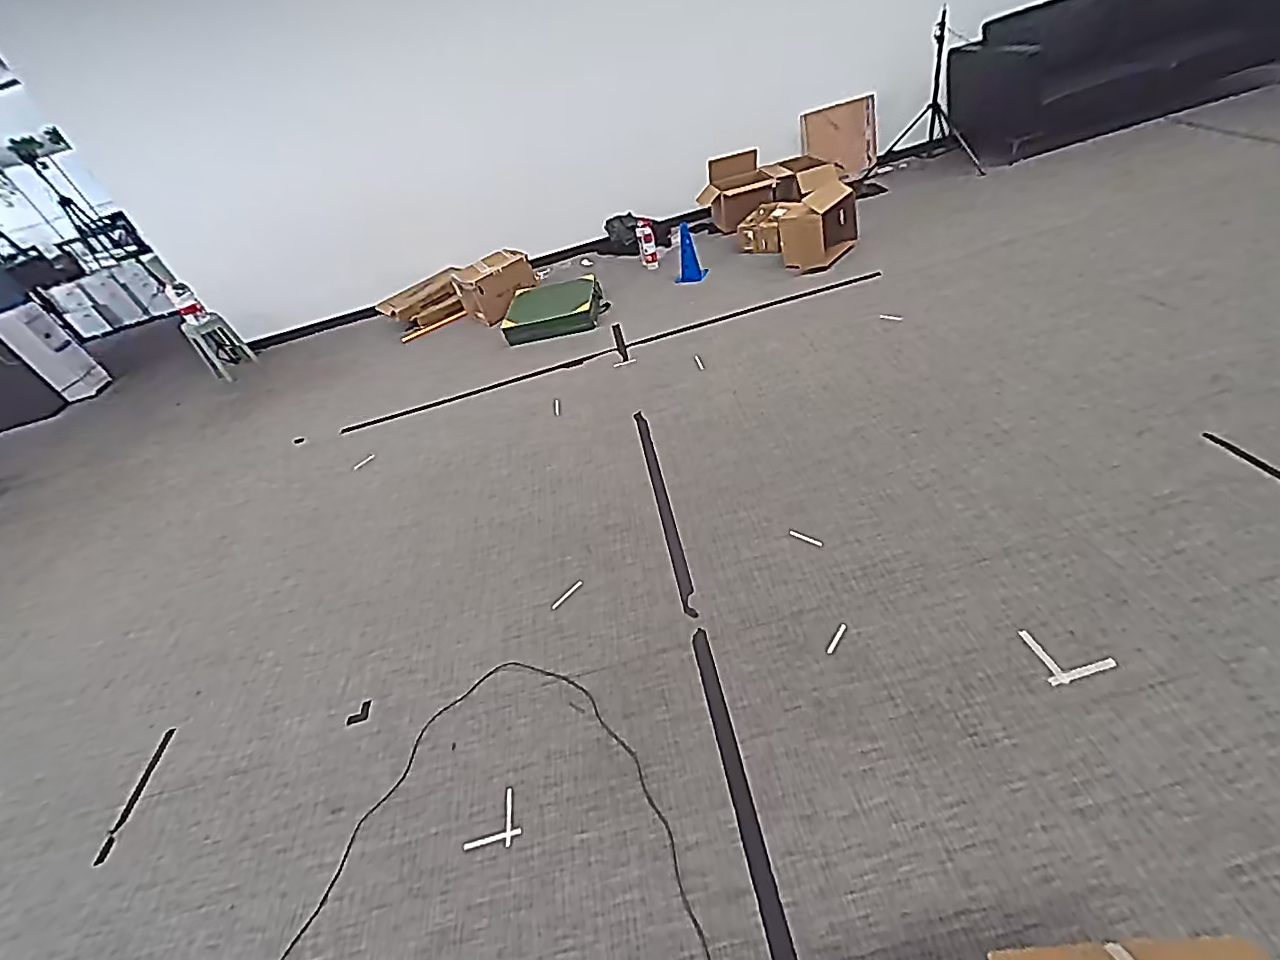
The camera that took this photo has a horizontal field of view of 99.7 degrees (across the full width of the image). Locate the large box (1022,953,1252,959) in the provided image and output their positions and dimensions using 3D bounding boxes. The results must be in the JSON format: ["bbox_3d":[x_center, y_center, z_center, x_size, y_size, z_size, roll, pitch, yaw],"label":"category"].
[{"bbox_3d":[0.610,0.745,0.492,0.320,0.408,0.320,-12,80,9],"label":"large box"}]
